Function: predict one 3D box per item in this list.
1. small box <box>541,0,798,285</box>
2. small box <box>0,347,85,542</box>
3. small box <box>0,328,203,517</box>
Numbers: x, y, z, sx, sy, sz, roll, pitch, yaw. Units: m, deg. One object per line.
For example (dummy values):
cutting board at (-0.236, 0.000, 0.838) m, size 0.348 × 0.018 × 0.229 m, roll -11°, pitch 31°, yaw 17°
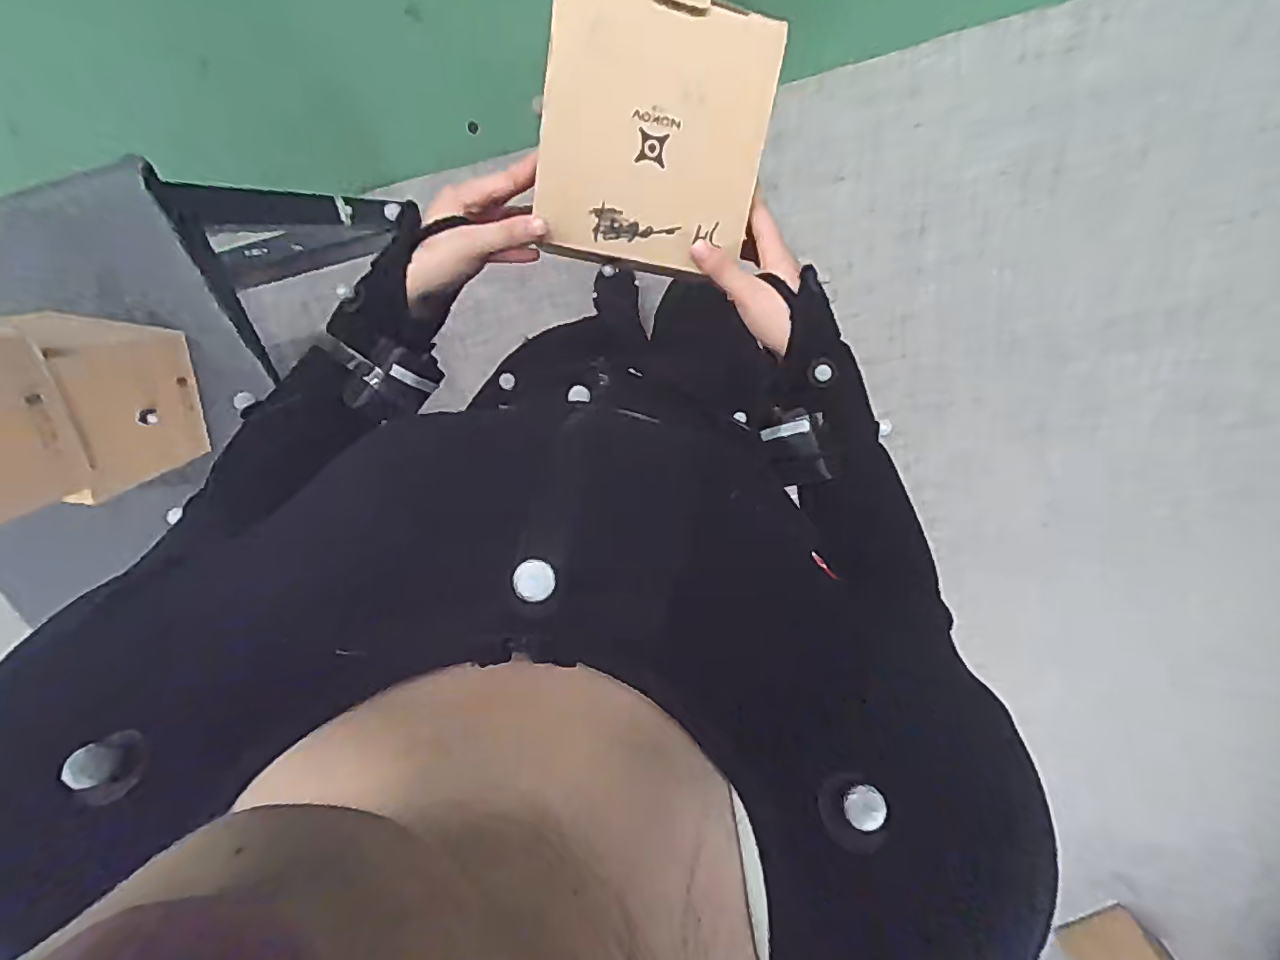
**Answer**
small box at (0.007, -0.274, 0.465) m, size 0.168 × 0.176 × 0.179 m, roll 7°, pitch 109°, yaw -11°
small box at (-0.670, -0.027, 0.486) m, size 0.179 × 0.176 × 0.168 m, roll 4°, pitch 114°, yaw 3°
small box at (-0.667, -0.077, 0.641) m, size 0.179 × 0.176 × 0.168 m, roll 8°, pitch 115°, yaw 1°
